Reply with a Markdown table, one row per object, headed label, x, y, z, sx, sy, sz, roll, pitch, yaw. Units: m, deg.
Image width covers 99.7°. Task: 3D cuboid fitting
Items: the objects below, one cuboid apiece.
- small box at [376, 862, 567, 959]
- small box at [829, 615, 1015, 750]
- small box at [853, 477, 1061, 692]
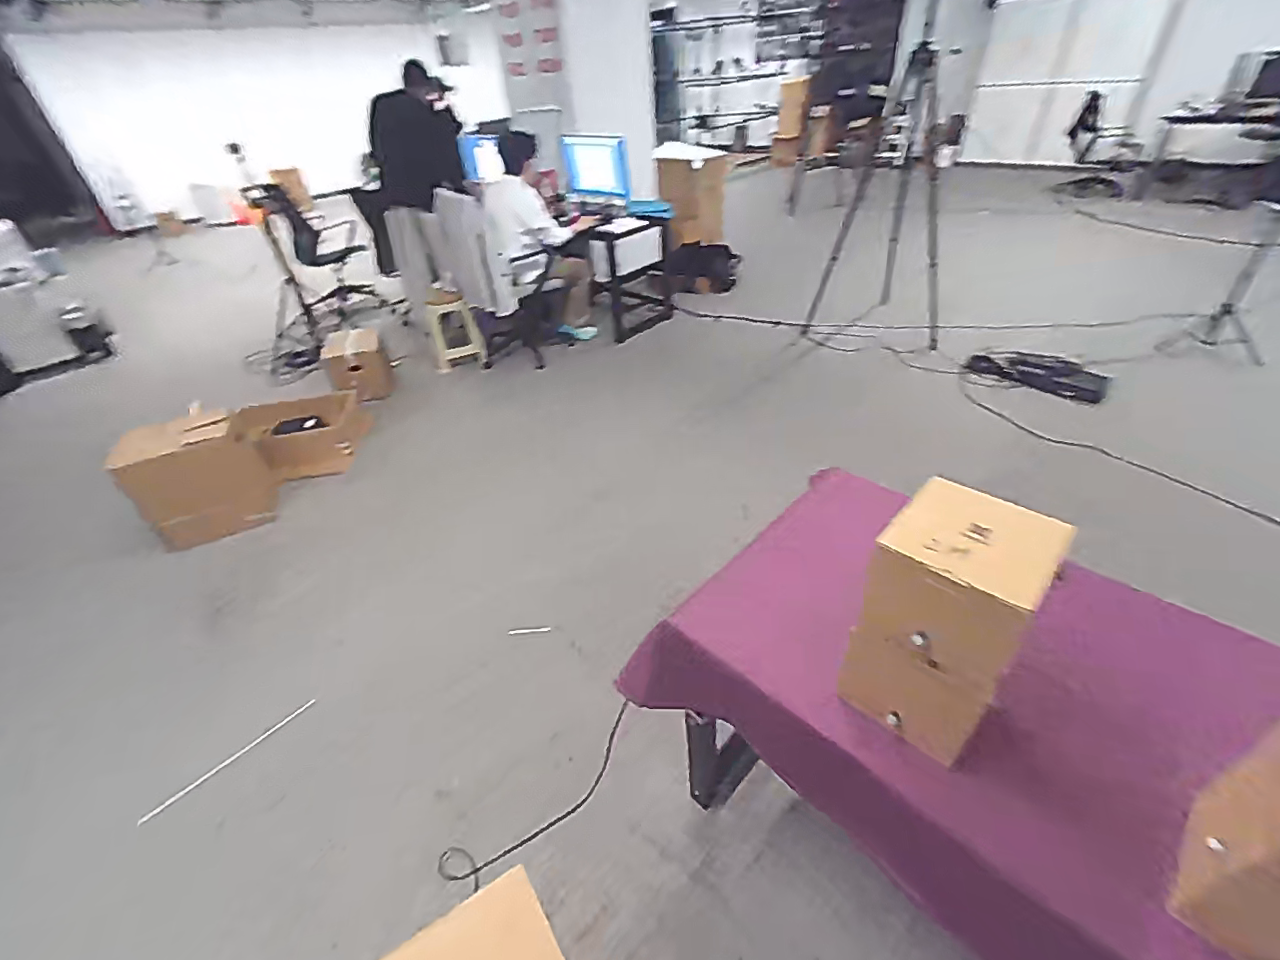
| label | x | y | z | sx | sy | sz | roll | pitch | yaw |
| --- | --- | --- | --- | --- | --- | --- | --- | --- | --- |
| small box | -0.130 | 0.446 | 0.406 | 0.179 | 0.176 | 0.168 | -20 | 48 | -30 |
| small box | 0.406 | 0.263 | 0.800 | 0.179 | 0.176 | 0.168 | 28 | 48 | 34 |
| small box | 0.399 | 0.130 | 0.702 | 0.168 | 0.176 | 0.179 | 28 | 49 | 36 |
